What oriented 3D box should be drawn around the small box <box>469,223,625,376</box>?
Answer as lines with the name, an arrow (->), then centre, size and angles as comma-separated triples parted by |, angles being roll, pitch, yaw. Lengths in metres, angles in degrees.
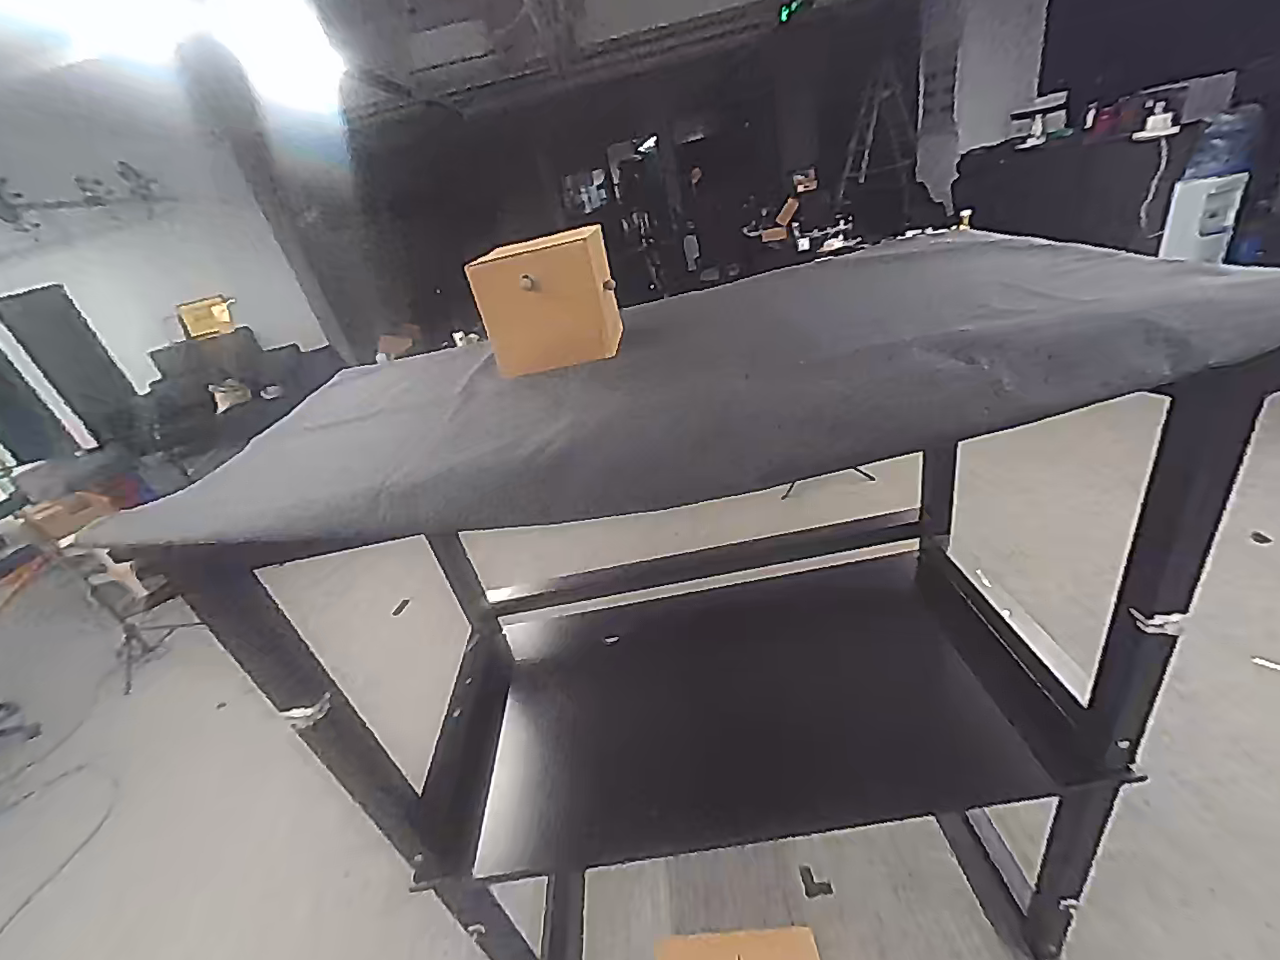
small box -> -0.126, -0.275, 0.824 | 0.179, 0.176, 0.168 | -9, 30, 9

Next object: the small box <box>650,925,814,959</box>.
small box -> 0.099, 0.580, 0.534 | 0.168, 0.176, 0.179 | -4, 33, 1
